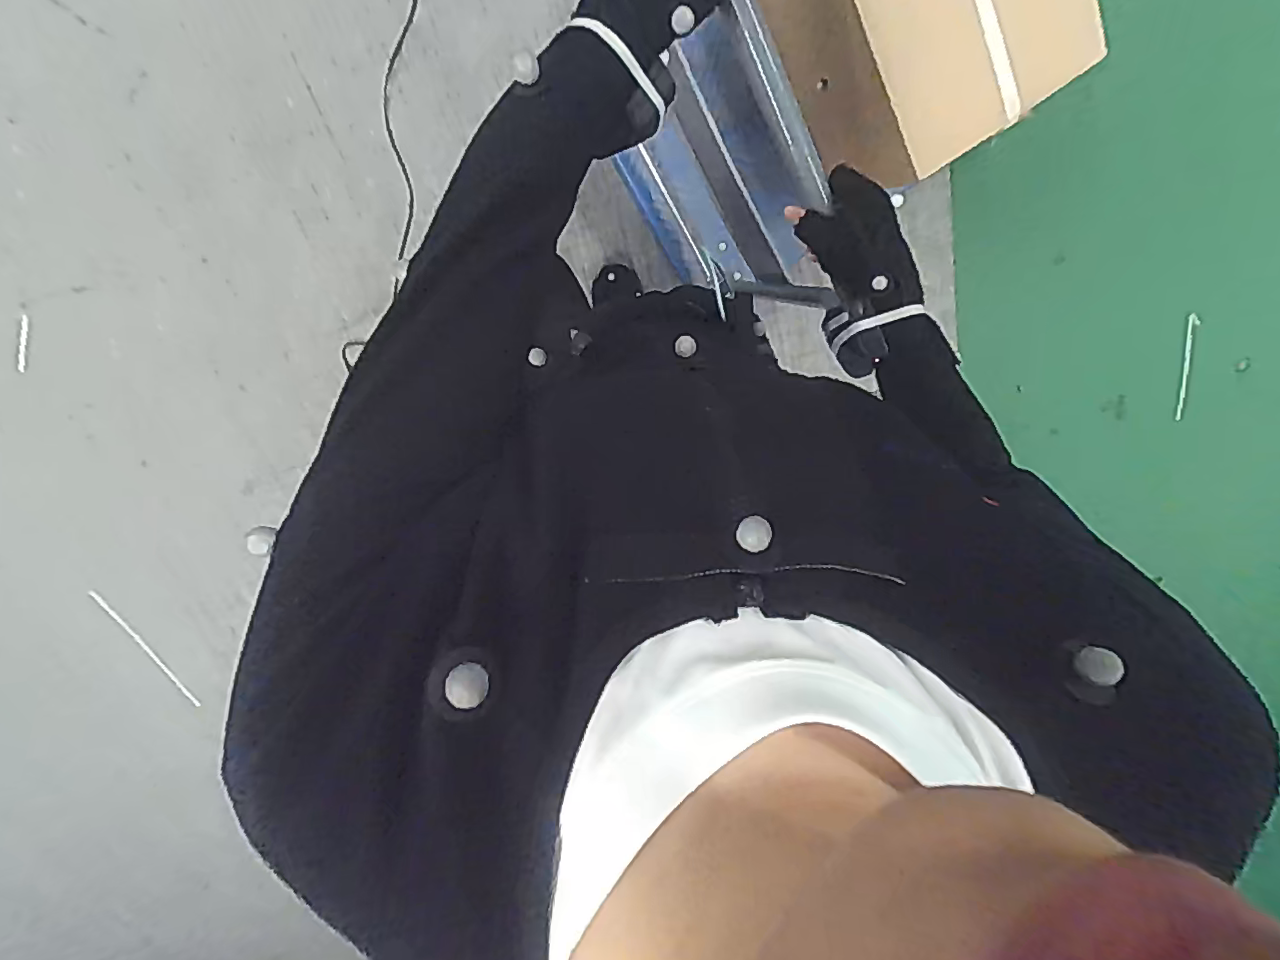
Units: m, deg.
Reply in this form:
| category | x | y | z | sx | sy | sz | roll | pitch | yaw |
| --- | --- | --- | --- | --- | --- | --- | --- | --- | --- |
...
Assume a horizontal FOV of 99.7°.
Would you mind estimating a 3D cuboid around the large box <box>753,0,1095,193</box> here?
| category | x | y | z | sx | sy | sz | roll | pitch | yaw |
| --- | --- | --- | --- | --- | --- | --- | --- | --- | --- |
| large box | 0.444 | -0.769 | 0.906 | 0.320 | 0.320 | 0.408 | -33 | 112 | 8 |
